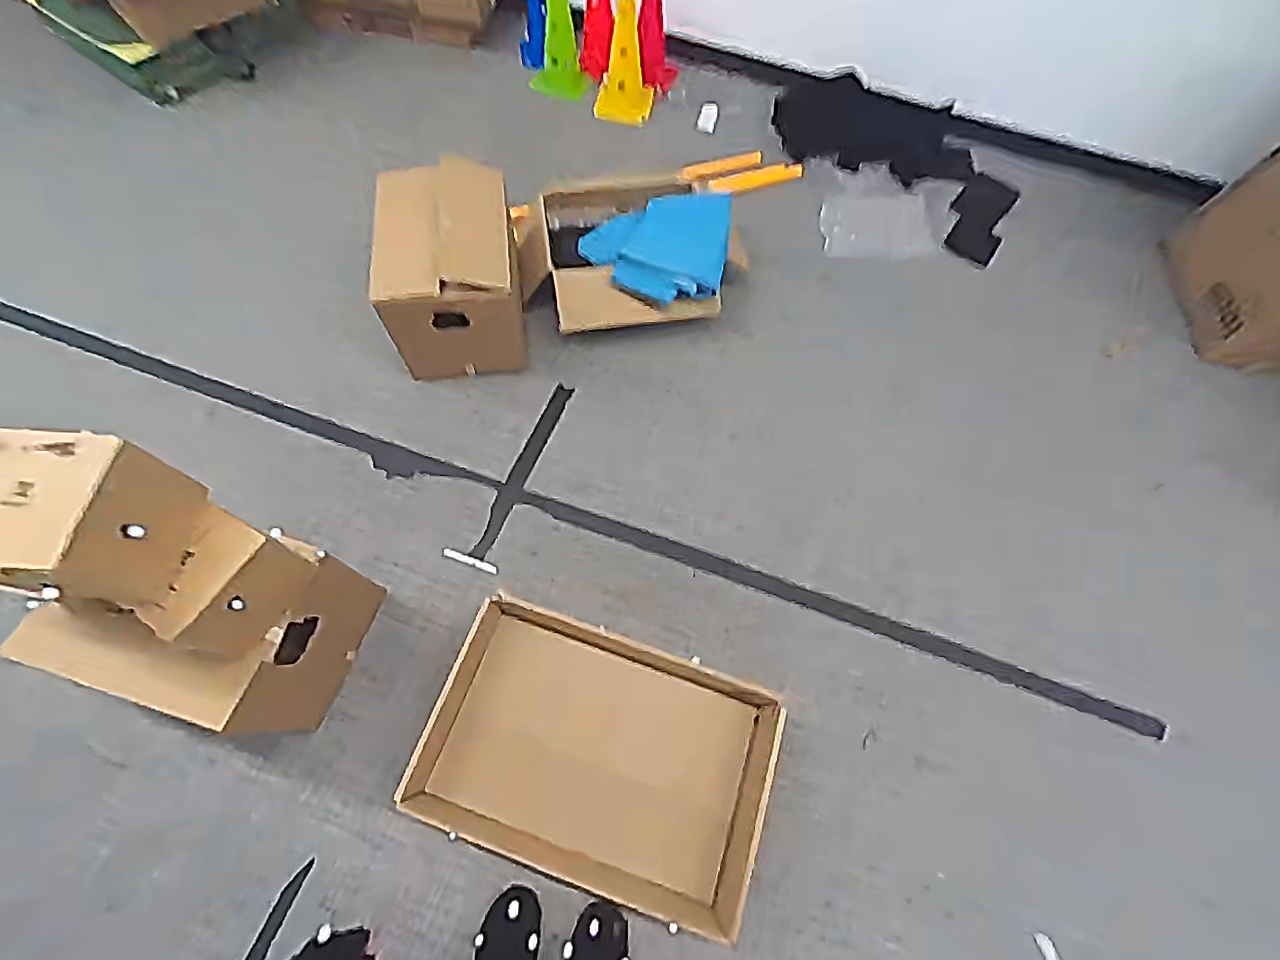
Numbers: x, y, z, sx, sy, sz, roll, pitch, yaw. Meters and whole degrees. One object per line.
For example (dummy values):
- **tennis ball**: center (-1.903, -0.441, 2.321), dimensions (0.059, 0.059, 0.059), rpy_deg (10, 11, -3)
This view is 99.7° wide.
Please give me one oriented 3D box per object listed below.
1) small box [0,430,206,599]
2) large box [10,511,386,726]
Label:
- **small box**: center (-0.732, 0.054, 0.715), dimensions (0.168, 0.176, 0.179), rpy_deg (4, 66, -2)
- **large box**: center (-0.802, 0.268, 1.060), dimensions (0.408, 0.320, 0.320), rpy_deg (16, 66, 3)
